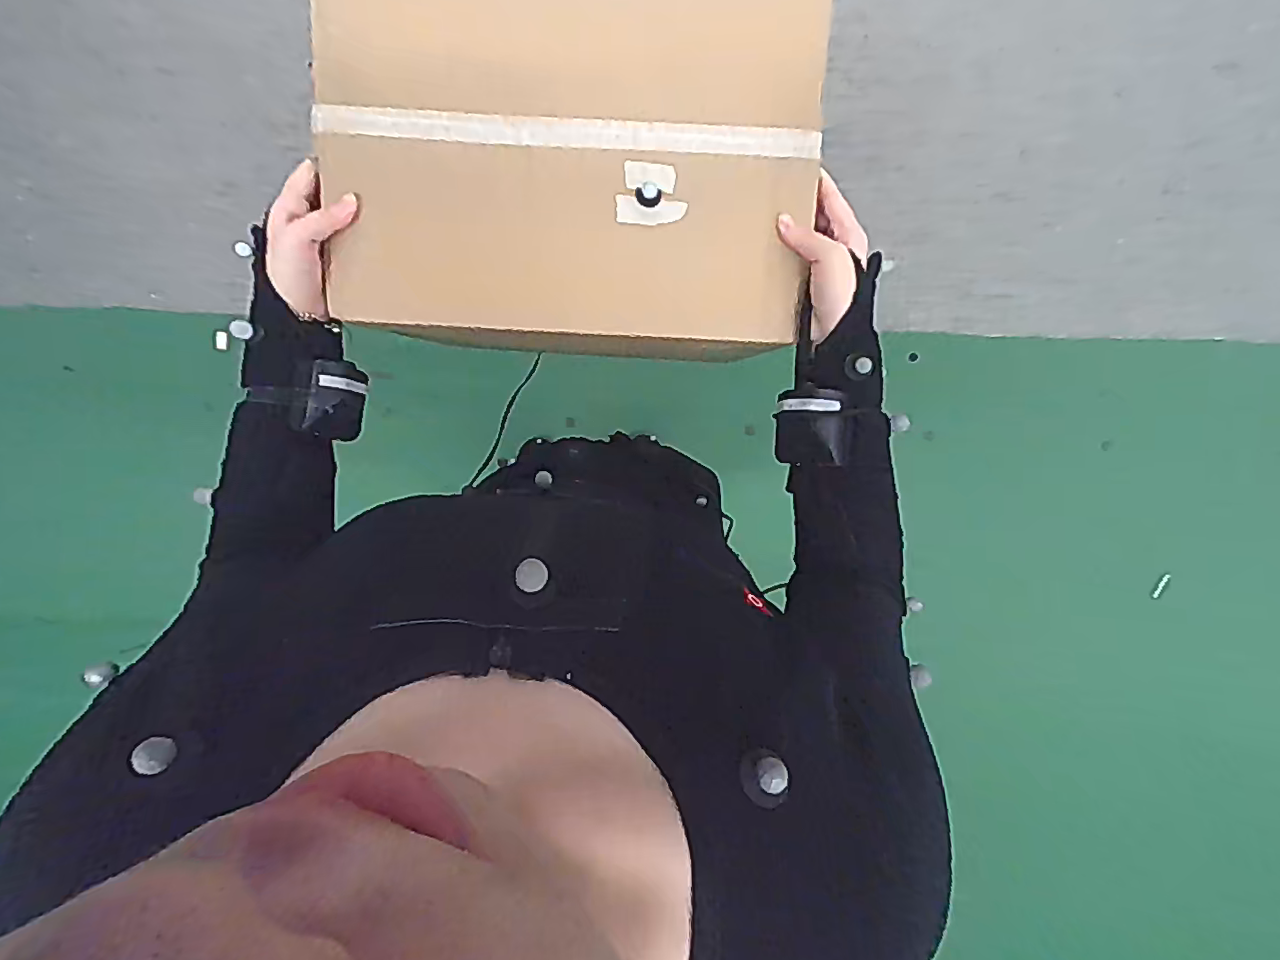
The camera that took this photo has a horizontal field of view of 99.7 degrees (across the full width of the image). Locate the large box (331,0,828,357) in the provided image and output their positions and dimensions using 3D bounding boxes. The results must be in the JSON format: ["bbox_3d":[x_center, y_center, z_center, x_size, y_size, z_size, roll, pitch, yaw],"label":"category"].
[{"bbox_3d":[-0.056,-0.306,0.594,0.408,0.320,0.320,2,100,-2],"label":"large box"}]
